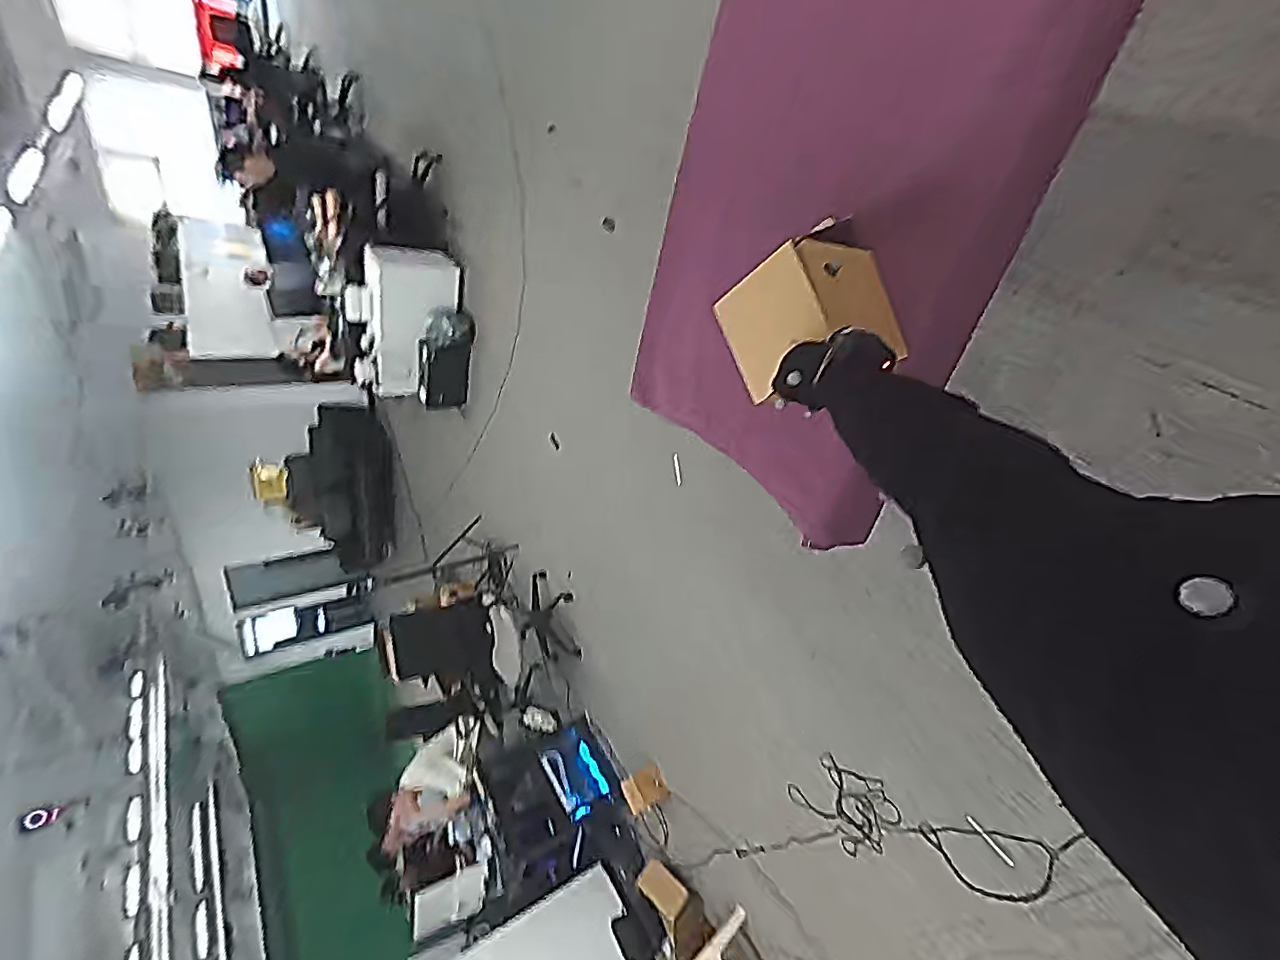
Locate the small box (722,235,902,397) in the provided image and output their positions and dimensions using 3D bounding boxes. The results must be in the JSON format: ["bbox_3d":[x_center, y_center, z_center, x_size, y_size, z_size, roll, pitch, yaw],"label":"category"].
[{"bbox_3d":[0.259,-0.238,0.822,0.168,0.176,0.179,-29,75,54],"label":"small box"}]
